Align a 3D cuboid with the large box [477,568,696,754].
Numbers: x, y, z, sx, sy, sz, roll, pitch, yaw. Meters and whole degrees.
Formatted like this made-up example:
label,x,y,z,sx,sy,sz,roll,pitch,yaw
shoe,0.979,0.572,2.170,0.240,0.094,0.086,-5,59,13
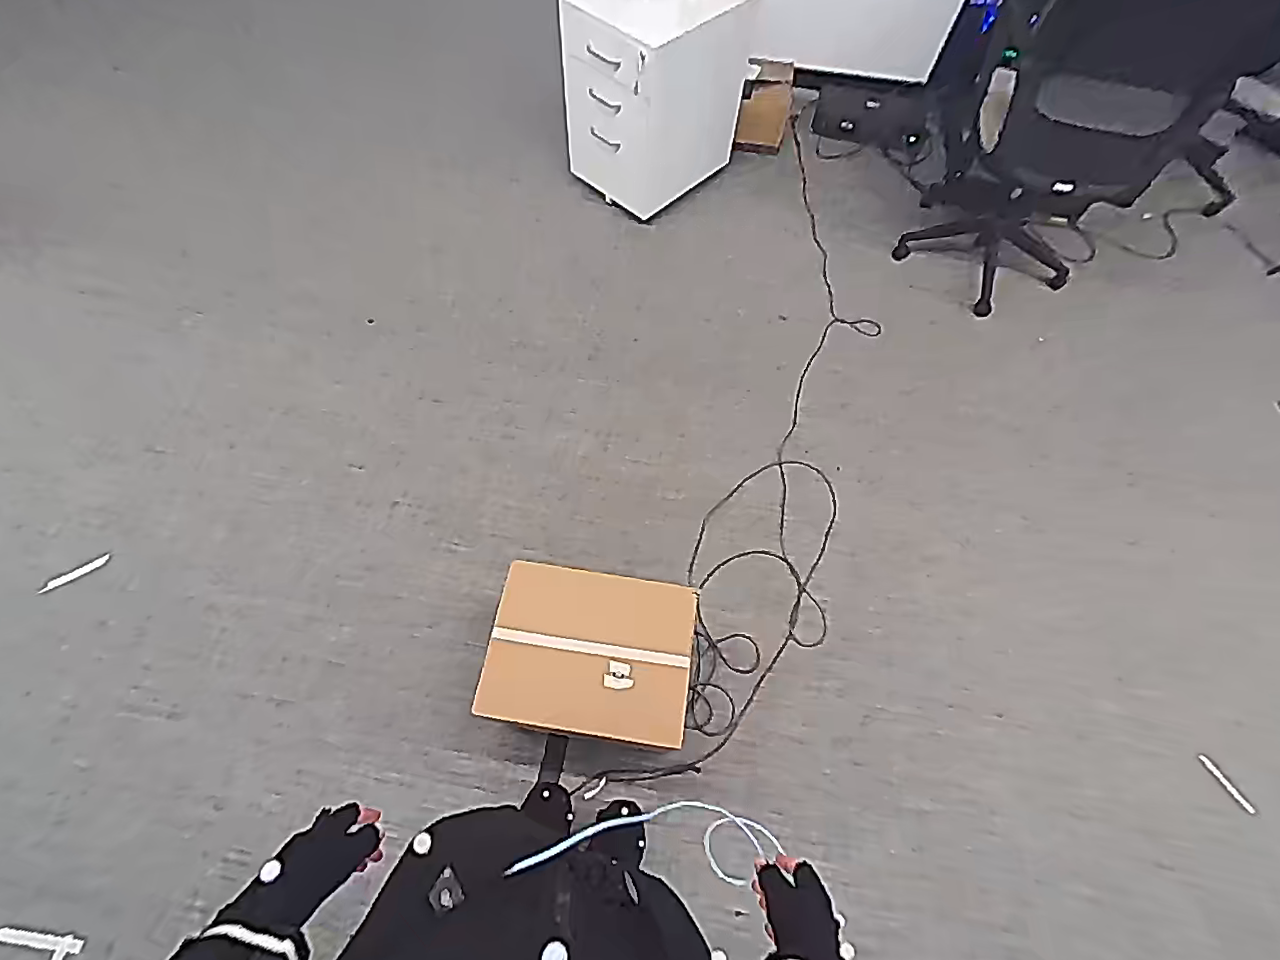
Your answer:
label,x,y,z,sx,sy,sz,roll,pitch,yaw
large box,-0.104,0.420,1.225,0.408,0.320,0.320,9,63,2
